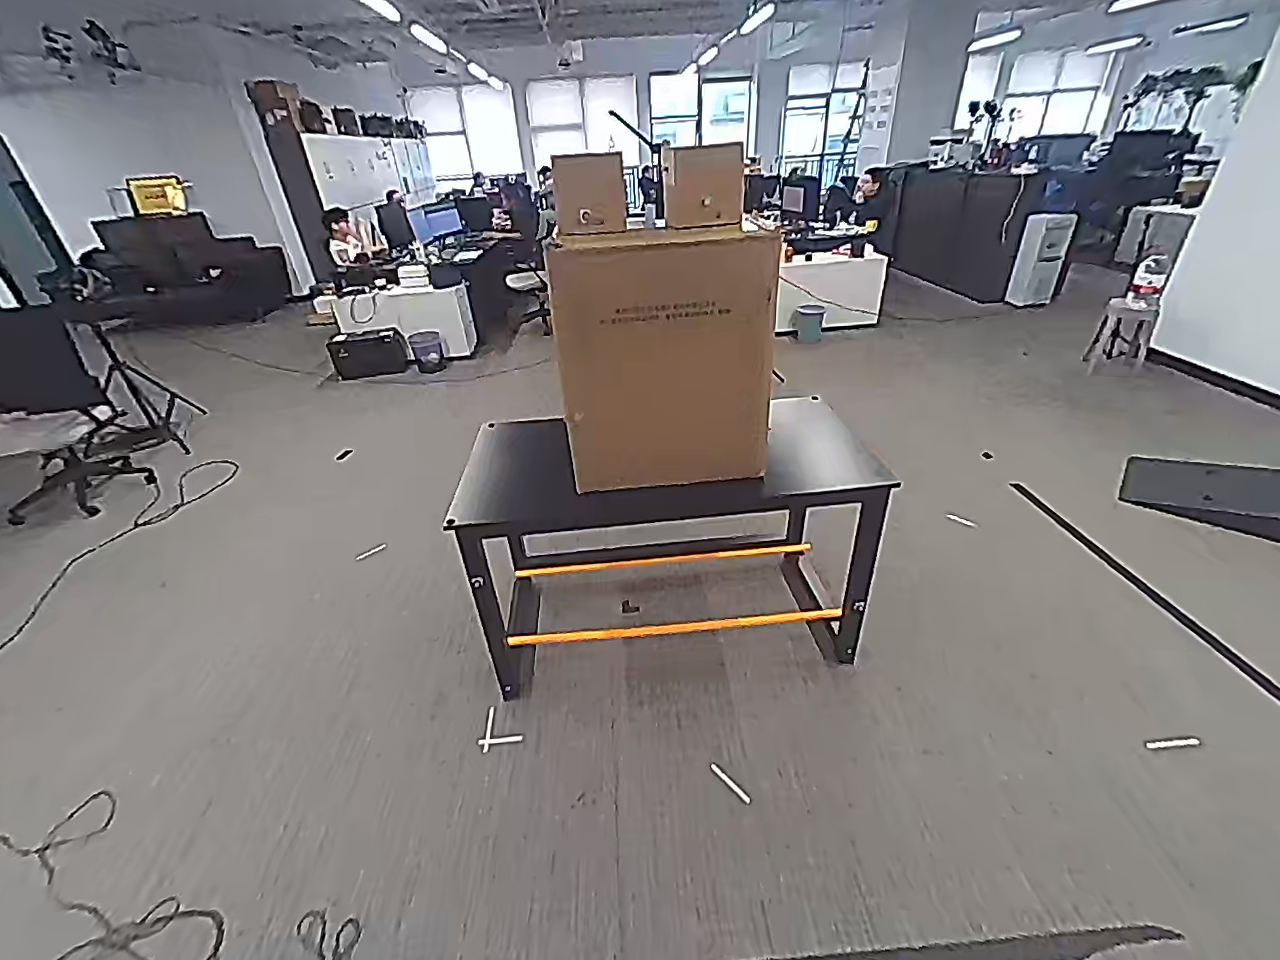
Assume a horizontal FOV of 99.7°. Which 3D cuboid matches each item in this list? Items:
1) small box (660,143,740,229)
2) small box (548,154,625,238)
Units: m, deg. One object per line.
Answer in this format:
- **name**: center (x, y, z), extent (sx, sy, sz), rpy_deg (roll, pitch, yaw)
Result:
- **small box**: center (0.142, -0.717, 1.321), extent (0.168, 0.176, 0.179), rpy_deg (-7, 31, -3)
- **small box**: center (-0.129, -0.694, 1.320), extent (0.168, 0.176, 0.179), rpy_deg (-7, 32, -4)
